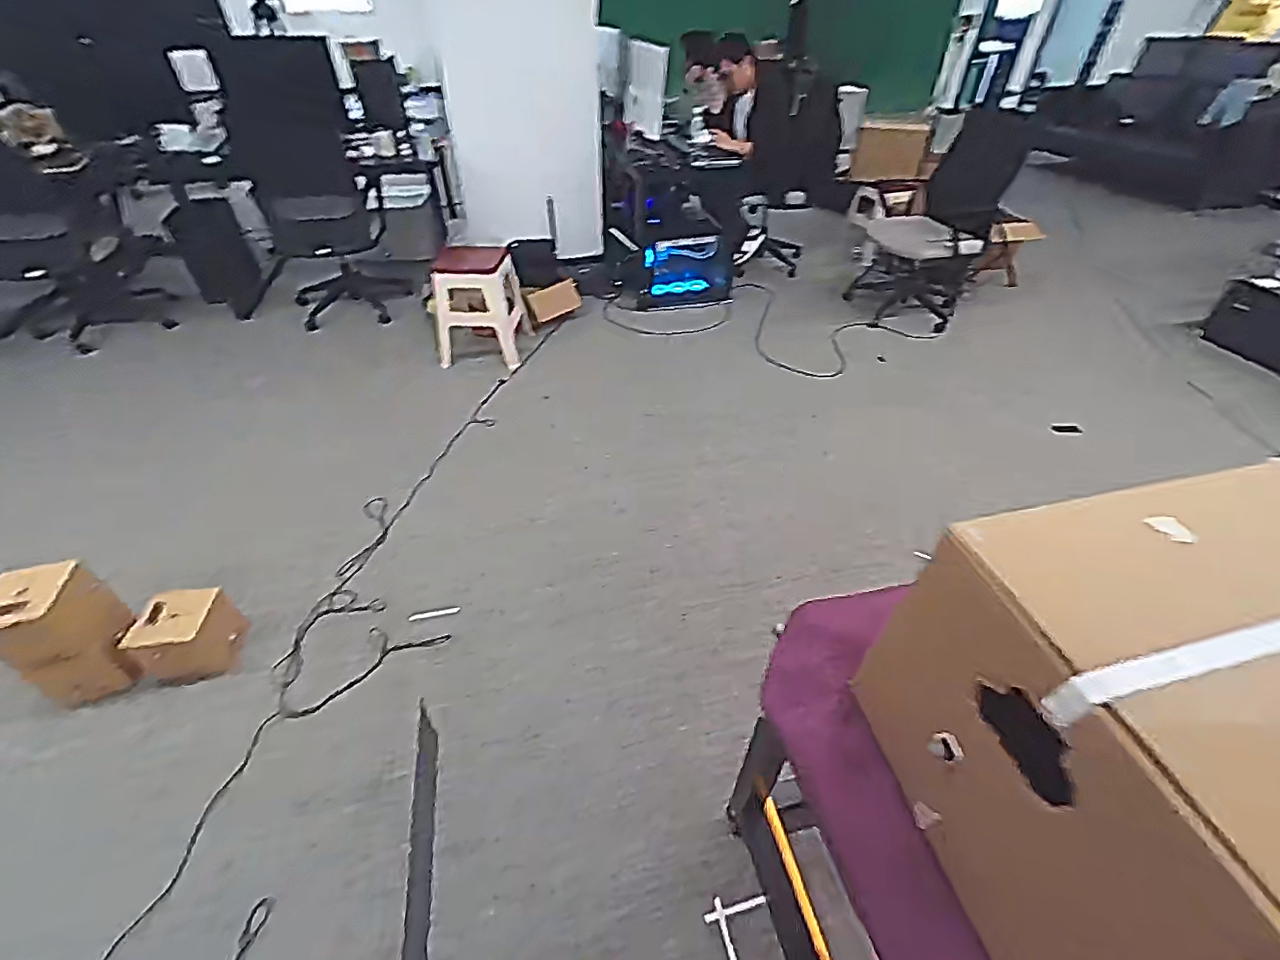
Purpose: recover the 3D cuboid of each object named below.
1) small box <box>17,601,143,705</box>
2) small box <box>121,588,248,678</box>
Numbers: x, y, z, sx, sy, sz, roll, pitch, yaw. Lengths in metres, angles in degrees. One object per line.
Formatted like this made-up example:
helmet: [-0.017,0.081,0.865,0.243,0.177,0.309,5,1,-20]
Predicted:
small box: [-1.447,0.455,1.425,0.168,0.176,0.179,-14,44,-15]
small box: [-1.219,0.417,1.464,0.179,0.176,0.168,-5,42,-6]
